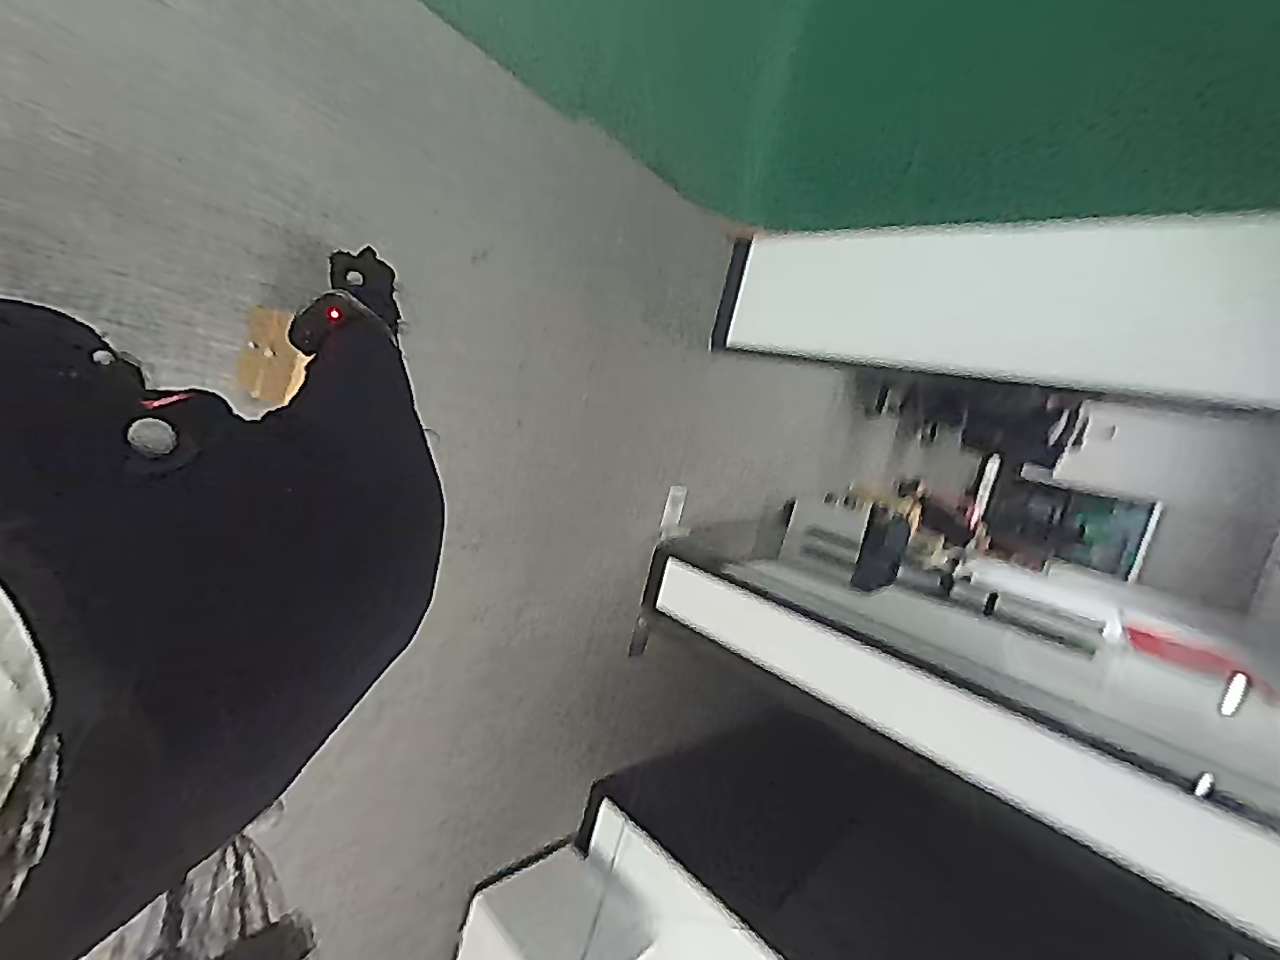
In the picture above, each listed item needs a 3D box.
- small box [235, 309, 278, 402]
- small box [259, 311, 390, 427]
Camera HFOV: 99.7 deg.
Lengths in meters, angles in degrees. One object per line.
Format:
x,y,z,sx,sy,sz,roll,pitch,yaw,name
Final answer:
-0.763,-0.262,1.188,0.168,0.176,0.179,9,99,-50,small box
-0.639,-0.224,1.089,0.168,0.176,0.179,14,94,-50,small box
